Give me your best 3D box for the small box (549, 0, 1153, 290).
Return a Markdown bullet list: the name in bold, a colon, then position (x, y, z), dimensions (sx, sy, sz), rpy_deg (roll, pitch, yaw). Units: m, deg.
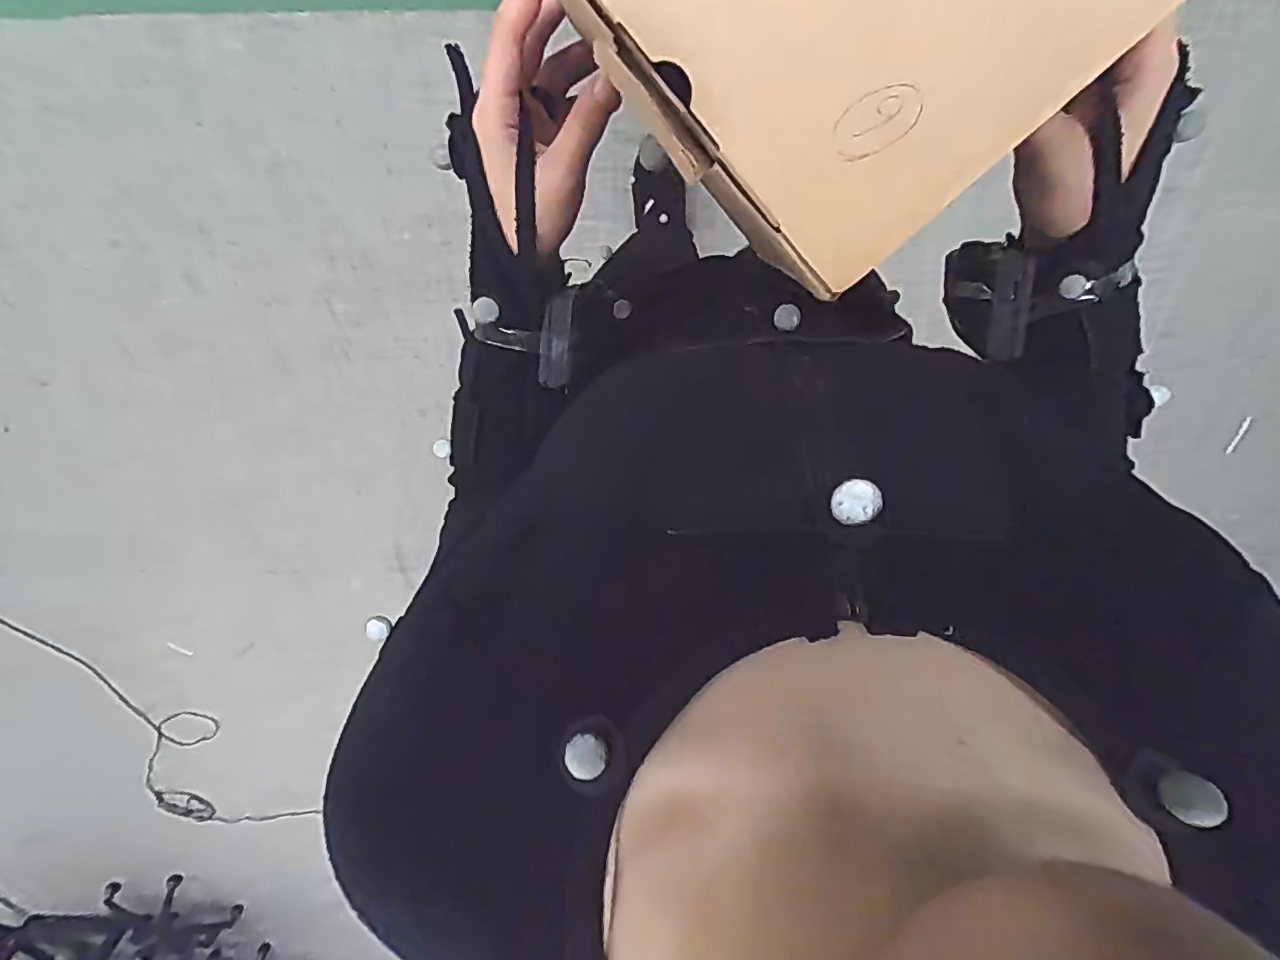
- **small box**: position (0.074, -0.207, 0.215), dimensions (0.168, 0.176, 0.179), rpy_deg (43, 113, -16)
